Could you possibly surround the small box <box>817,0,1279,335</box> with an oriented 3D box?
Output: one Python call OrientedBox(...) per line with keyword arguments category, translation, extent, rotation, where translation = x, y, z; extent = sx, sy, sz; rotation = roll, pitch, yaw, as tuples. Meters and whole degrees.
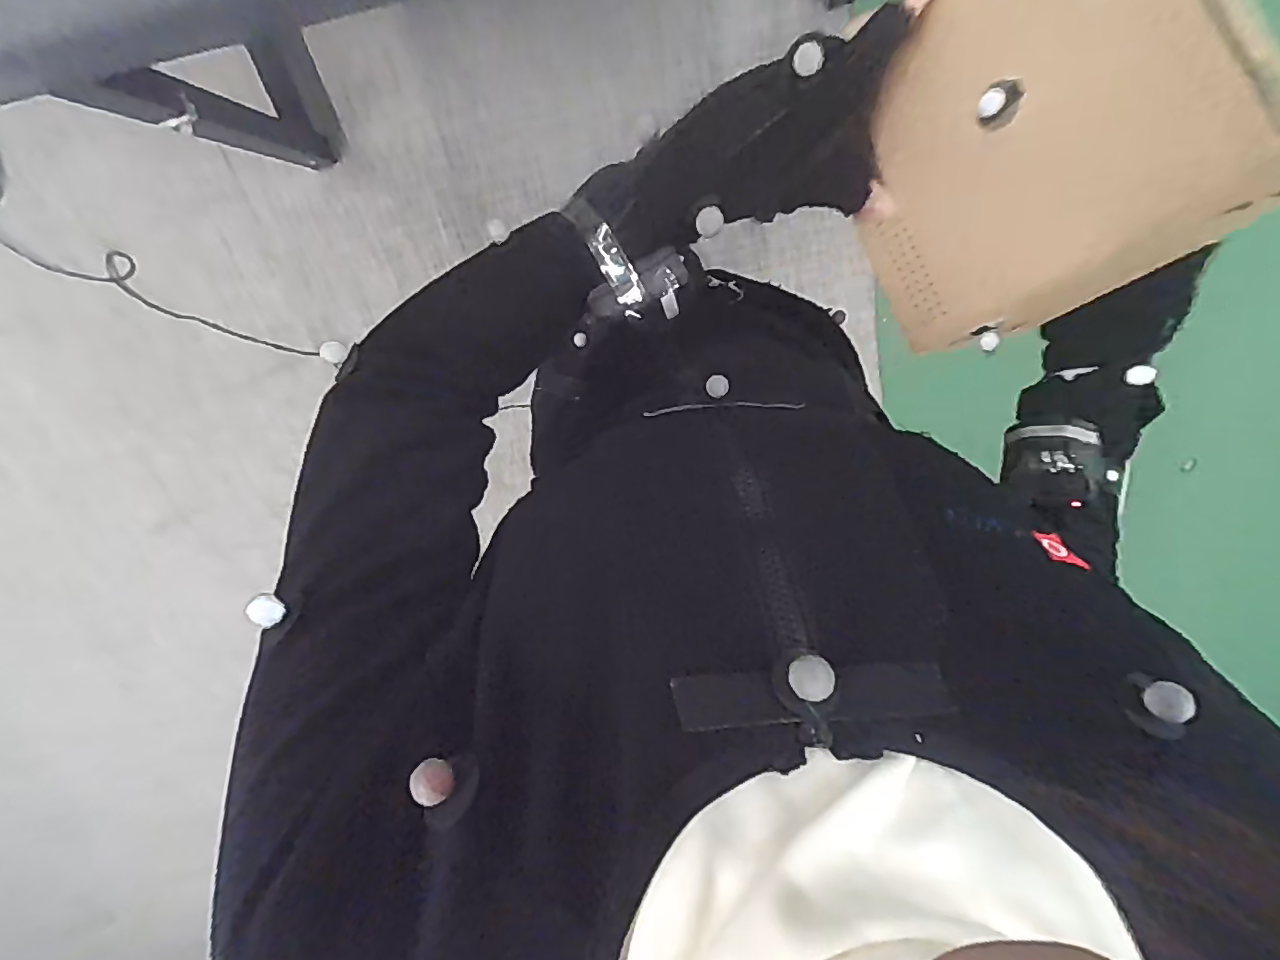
OrientedBox(category="small box", translation=(0.245, -0.202, 0.330), extent=(0.168, 0.176, 0.179), rotation=(-17, 84, -32))
